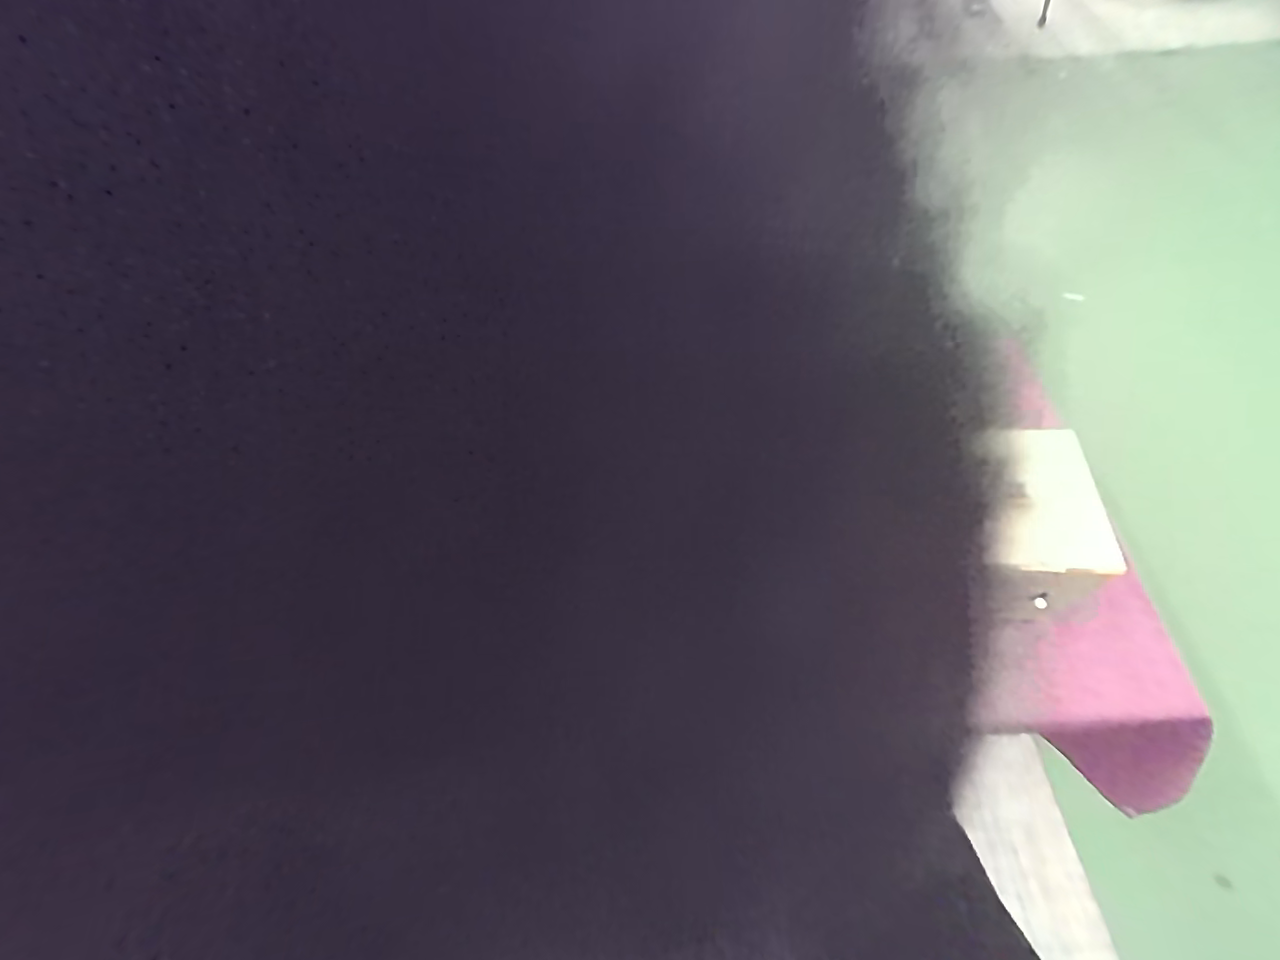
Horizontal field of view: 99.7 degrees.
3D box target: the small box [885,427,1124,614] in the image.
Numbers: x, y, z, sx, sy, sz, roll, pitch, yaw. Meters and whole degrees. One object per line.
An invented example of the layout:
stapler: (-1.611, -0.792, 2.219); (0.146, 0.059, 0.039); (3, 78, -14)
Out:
small box: (0.417, 0.055, 0.658); (0.168, 0.176, 0.179); (2, 59, 5)
